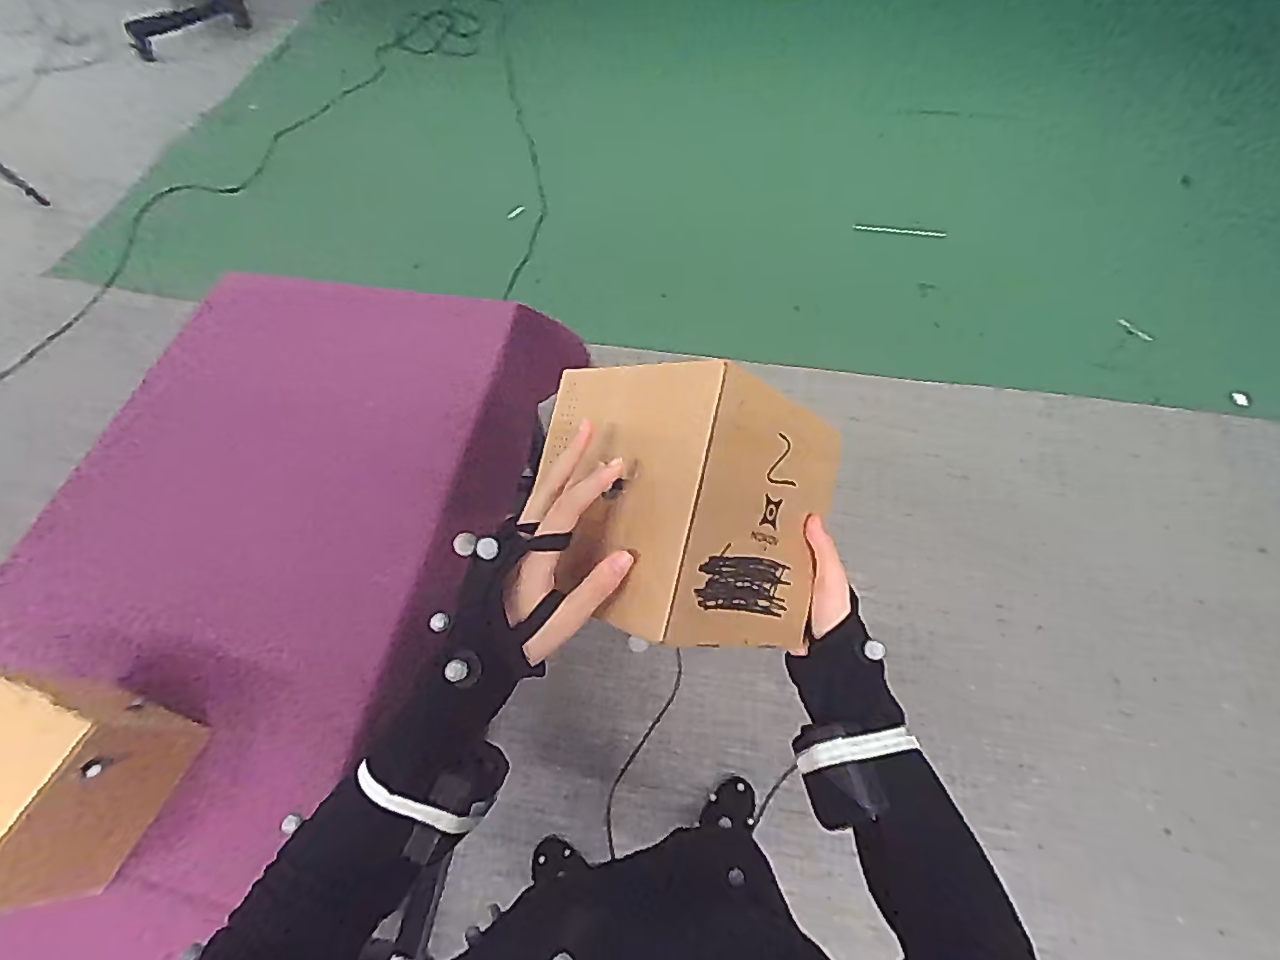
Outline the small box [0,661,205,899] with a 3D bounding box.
[{"bbox_3d":[-0.640,0.323,0.585,0.168,0.176,0.179,18,61,11],"label":"small box"}]
